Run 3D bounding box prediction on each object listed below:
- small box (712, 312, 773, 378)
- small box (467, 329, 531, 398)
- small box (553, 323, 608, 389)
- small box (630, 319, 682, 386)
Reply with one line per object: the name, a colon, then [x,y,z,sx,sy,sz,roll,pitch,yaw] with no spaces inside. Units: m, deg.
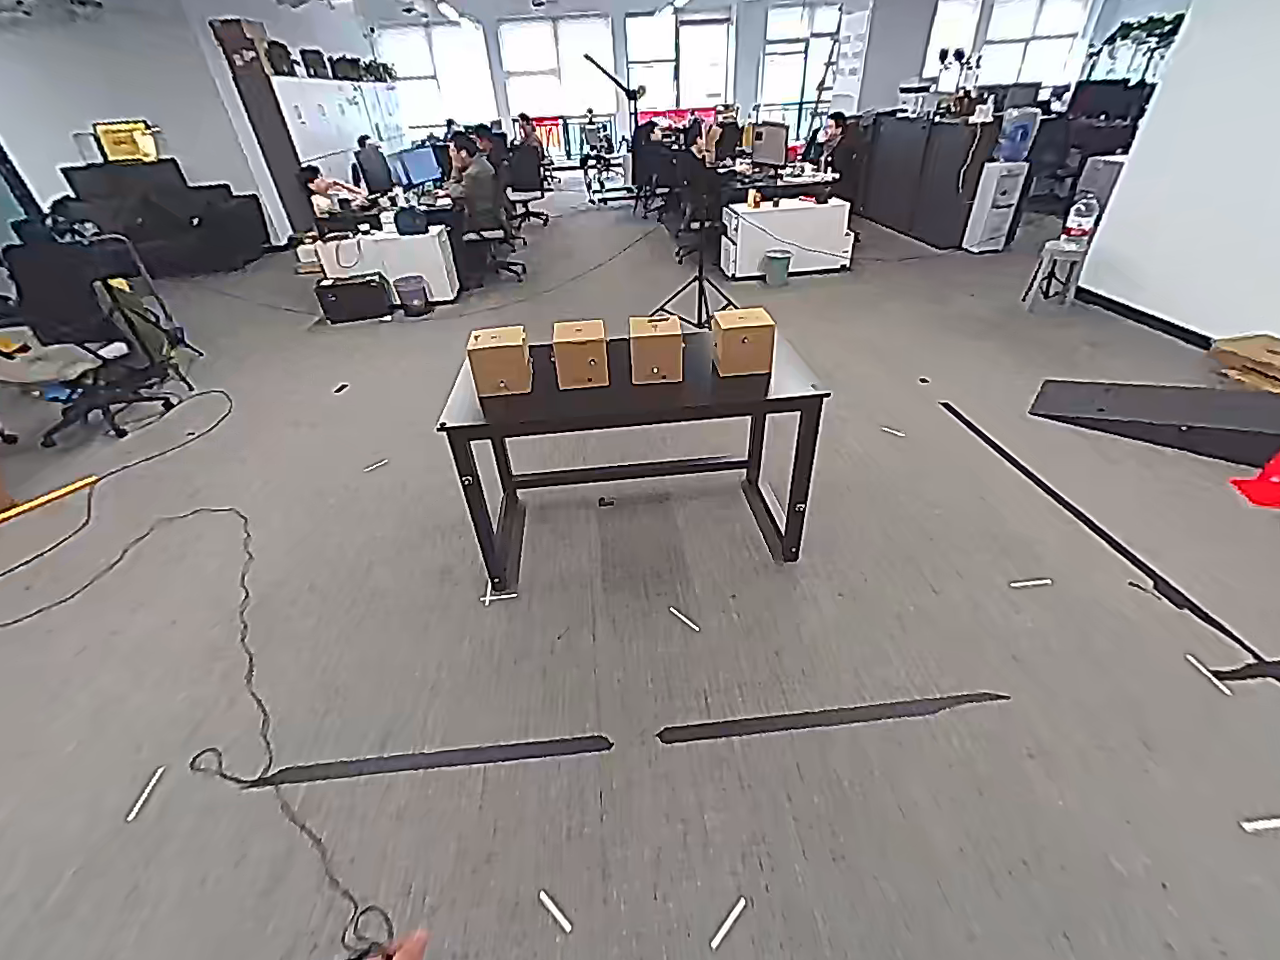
small box: [0.341,-0.455,1.827,0.179,0.176,0.168,-5,36,-1]
small box: [-0.458,-0.385,1.791,0.179,0.176,0.168,-6,35,-5]
small box: [-0.198,-0.412,1.814,0.168,0.176,0.179,-5,35,-4]
small box: [0.050,-0.429,1.815,0.168,0.176,0.179,-3,36,0]
